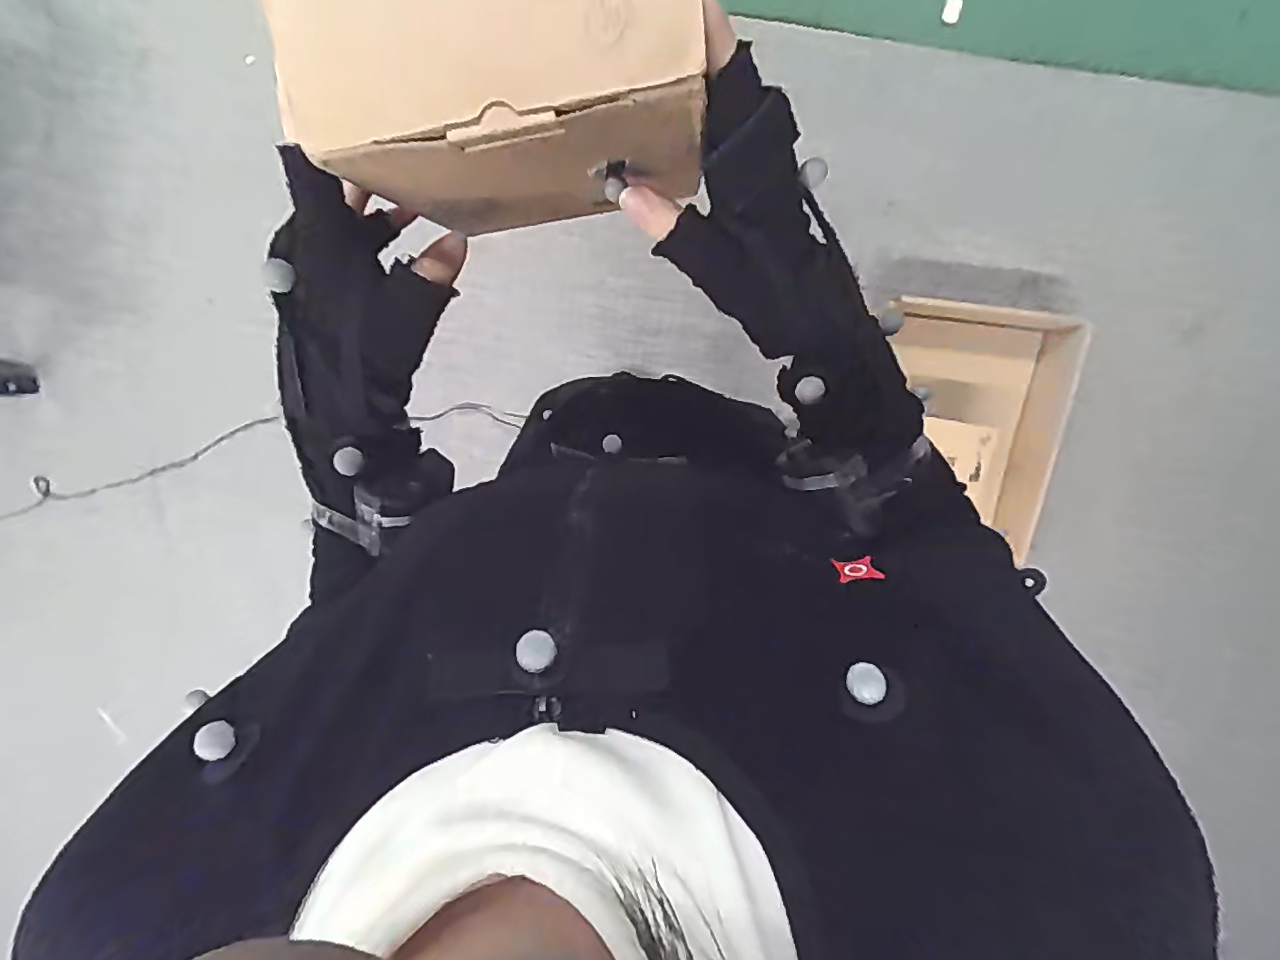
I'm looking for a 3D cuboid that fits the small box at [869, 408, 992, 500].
[{"bbox_3d":[0.644,-0.066,1.225,0.179,0.176,0.168,12,103,4],"label":"small box"}]

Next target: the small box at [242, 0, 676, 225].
[{"bbox_3d":[-0.073,-0.243,0.274,0.168,0.176,0.179,-8,103,6],"label":"small box"}]
